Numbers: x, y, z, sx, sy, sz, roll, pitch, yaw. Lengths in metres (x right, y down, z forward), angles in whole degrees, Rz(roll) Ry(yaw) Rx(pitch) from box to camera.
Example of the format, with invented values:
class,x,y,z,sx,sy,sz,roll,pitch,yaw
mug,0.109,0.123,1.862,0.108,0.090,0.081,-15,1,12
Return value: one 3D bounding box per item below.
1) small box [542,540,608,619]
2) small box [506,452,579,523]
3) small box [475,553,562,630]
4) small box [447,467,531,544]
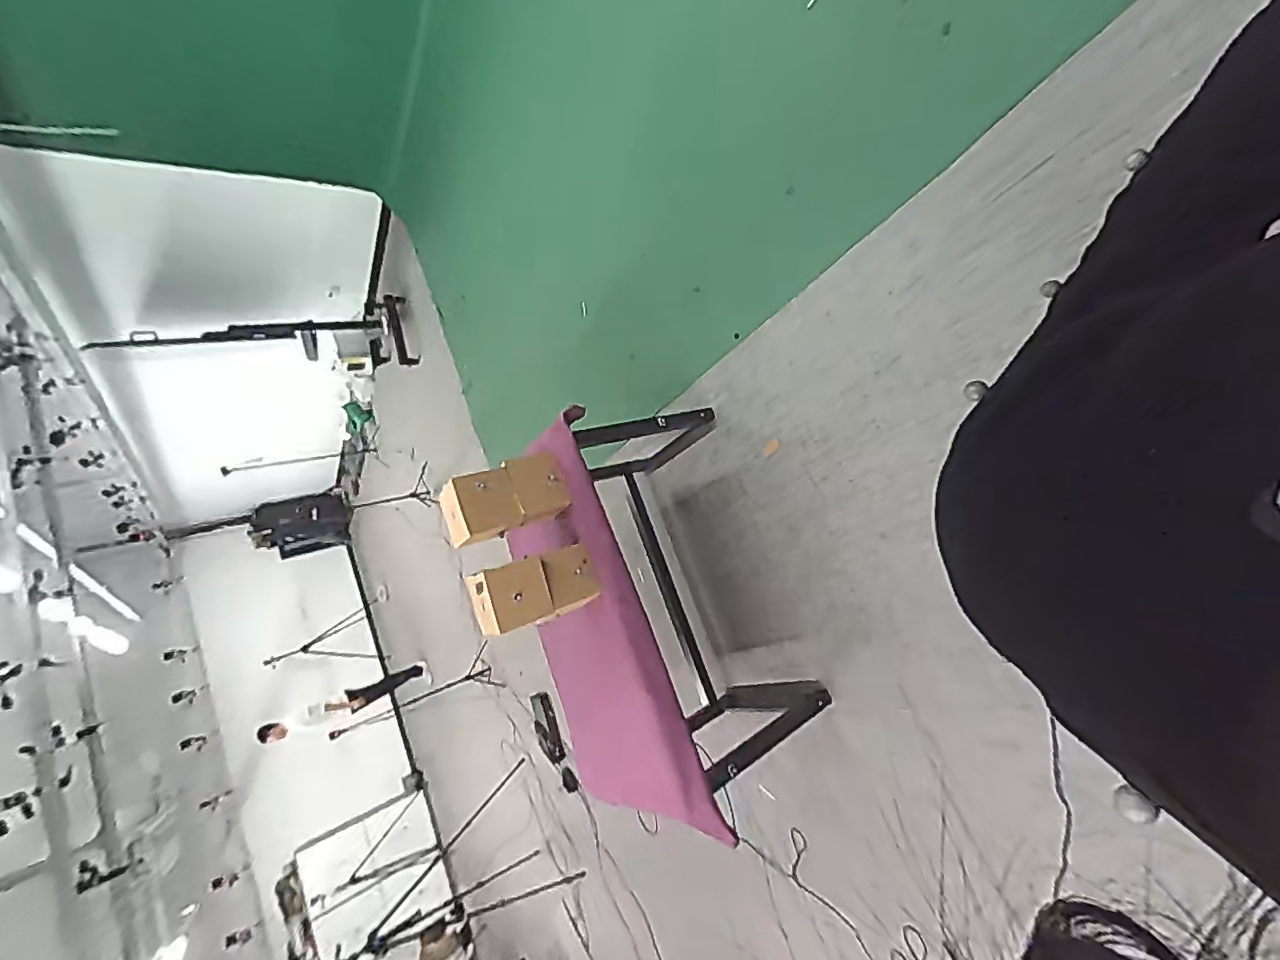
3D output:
class,x,y,z,sx,sy,sz,roll,pitch,yaw
small box,-0.222,0.304,1.658,0.179,0.176,0.168,-44,67,51
small box,-0.318,0.024,1.689,0.168,0.176,0.179,-40,70,52
small box,-0.346,0.315,1.547,0.168,0.176,0.179,-21,86,55
small box,-0.446,0.071,1.598,0.168,0.176,0.179,-31,77,53
